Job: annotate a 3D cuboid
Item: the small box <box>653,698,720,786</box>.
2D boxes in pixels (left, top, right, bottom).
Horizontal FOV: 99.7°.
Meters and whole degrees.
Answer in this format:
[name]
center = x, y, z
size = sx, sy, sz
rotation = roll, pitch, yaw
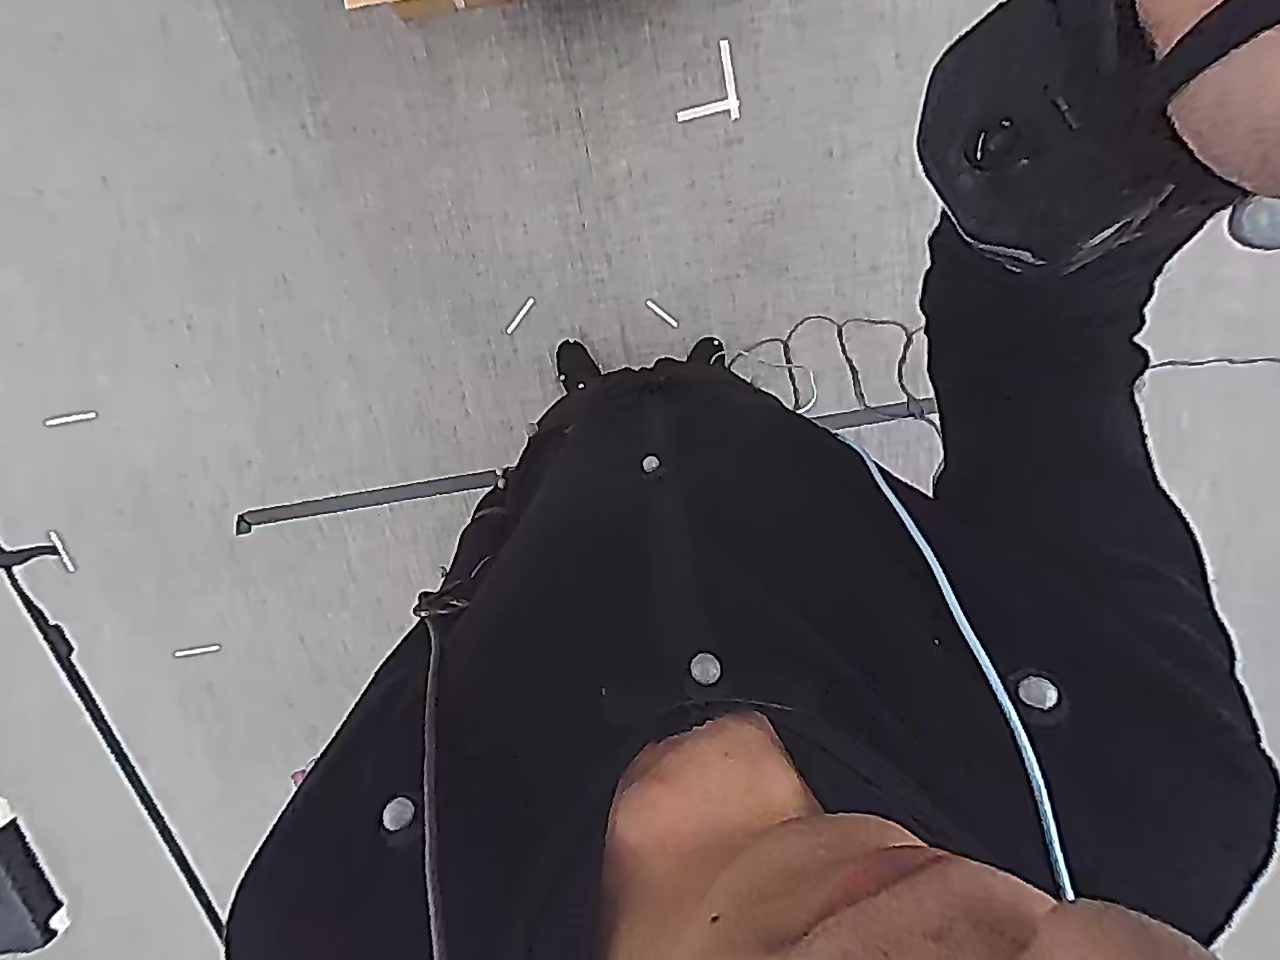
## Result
[small box]
center = 0.140, 0.807, 1.678
size = 0.179, 0.176, 0.168
rotation = -12, 106, 3
